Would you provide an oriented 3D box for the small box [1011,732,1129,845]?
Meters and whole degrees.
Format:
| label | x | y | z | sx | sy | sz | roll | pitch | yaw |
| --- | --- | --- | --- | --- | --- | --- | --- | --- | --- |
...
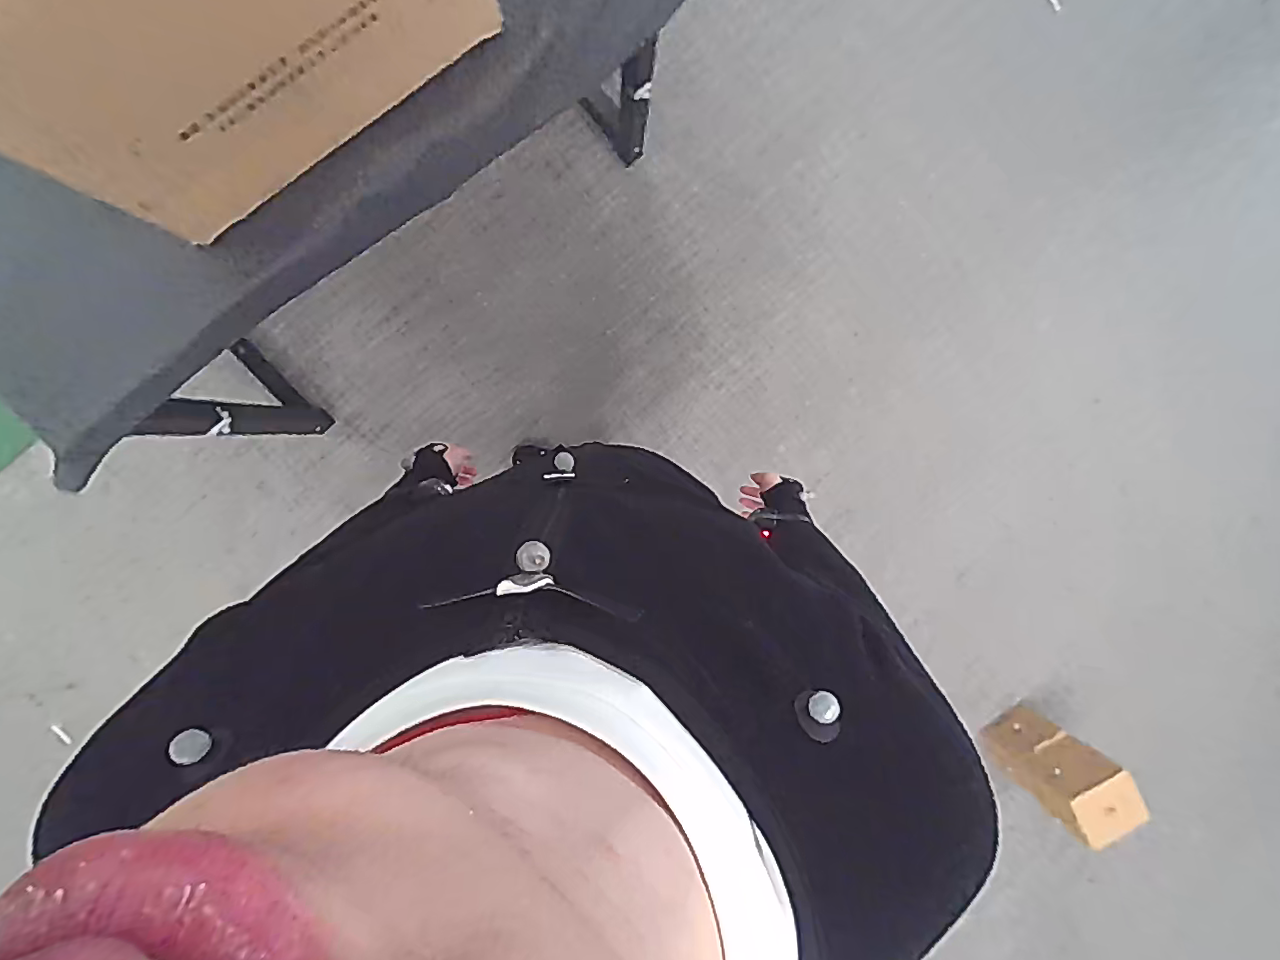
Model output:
| label | x | y | z | sx | sy | sz | roll | pitch | yaw |
| --- | --- | --- | --- | --- | --- | --- | --- | --- | --- |
| small box | 1.162 | 0.836 | 1.480 | 0.179 | 0.176 | 0.168 | -29 | 98 | -3 |

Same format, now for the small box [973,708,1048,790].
| label | x | y | z | sx | sy | sz | roll | pitch | yaw |
| --- | --- | --- | --- | --- | --- | --- | --- | --- | --- |
| small box | 1.156 | 0.826 | 1.635 | 0.168 | 0.176 | 0.179 | 26 | 91 | -8 |
